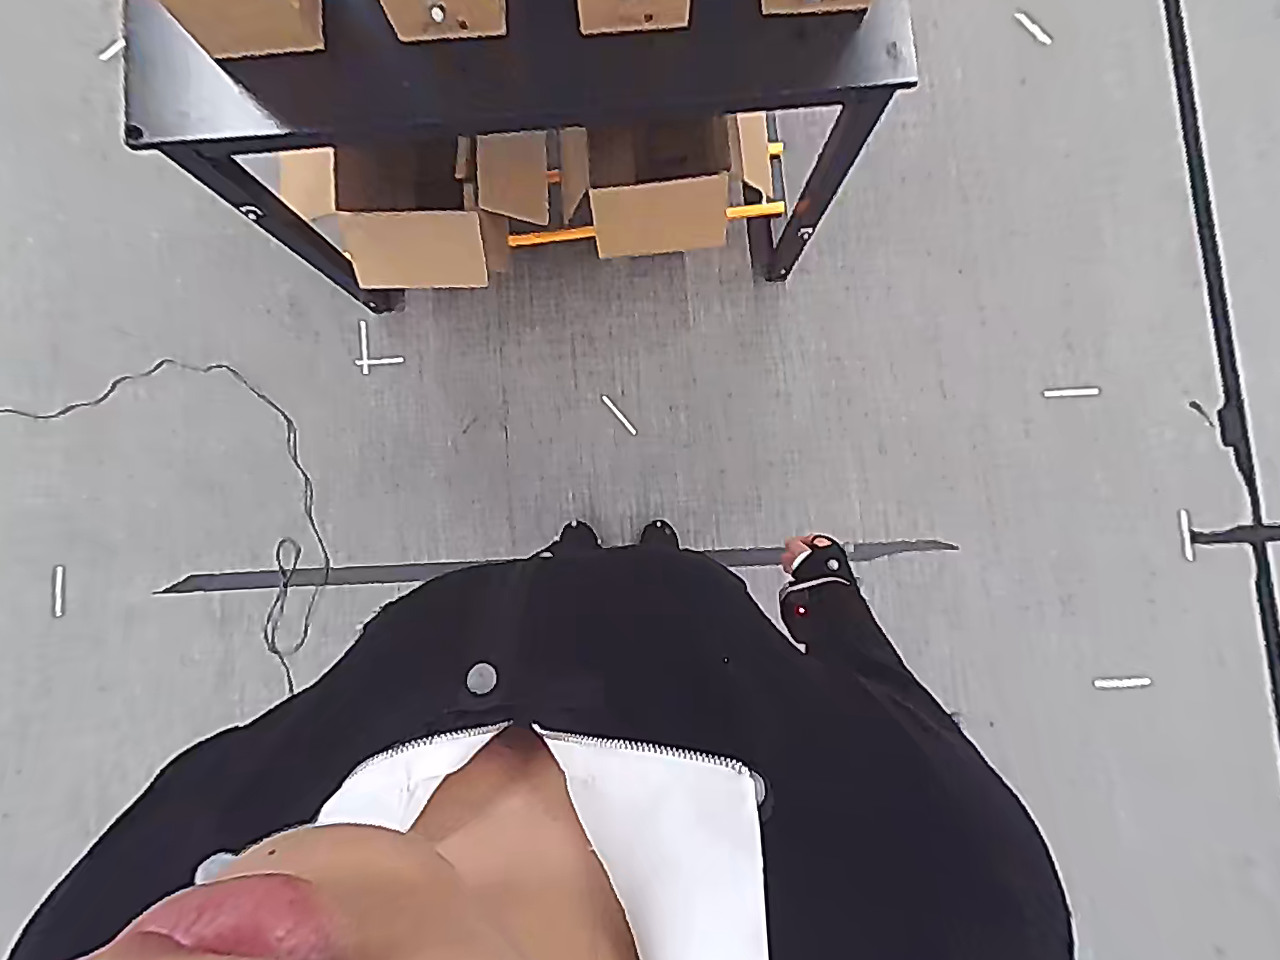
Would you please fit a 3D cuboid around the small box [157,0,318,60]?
[{"bbox_3d":[-0.577,-0.735,0.757,0.179,0.176,0.168,-5,85,-1],"label":"small box"}]

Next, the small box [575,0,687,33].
[{"bbox_3d":[-0.018,-0.775,0.761,0.168,0.176,0.179,-4,86,0],"label":"small box"}]

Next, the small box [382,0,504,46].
[{"bbox_3d":[-0.294,-0.765,0.760,0.168,0.176,0.179,-3,86,0],"label":"small box"}]

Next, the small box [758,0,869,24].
[{"bbox_3d":[0.258,-0.800,0.761,0.168,0.176,0.179,-4,86,2],"label":"small box"}]
